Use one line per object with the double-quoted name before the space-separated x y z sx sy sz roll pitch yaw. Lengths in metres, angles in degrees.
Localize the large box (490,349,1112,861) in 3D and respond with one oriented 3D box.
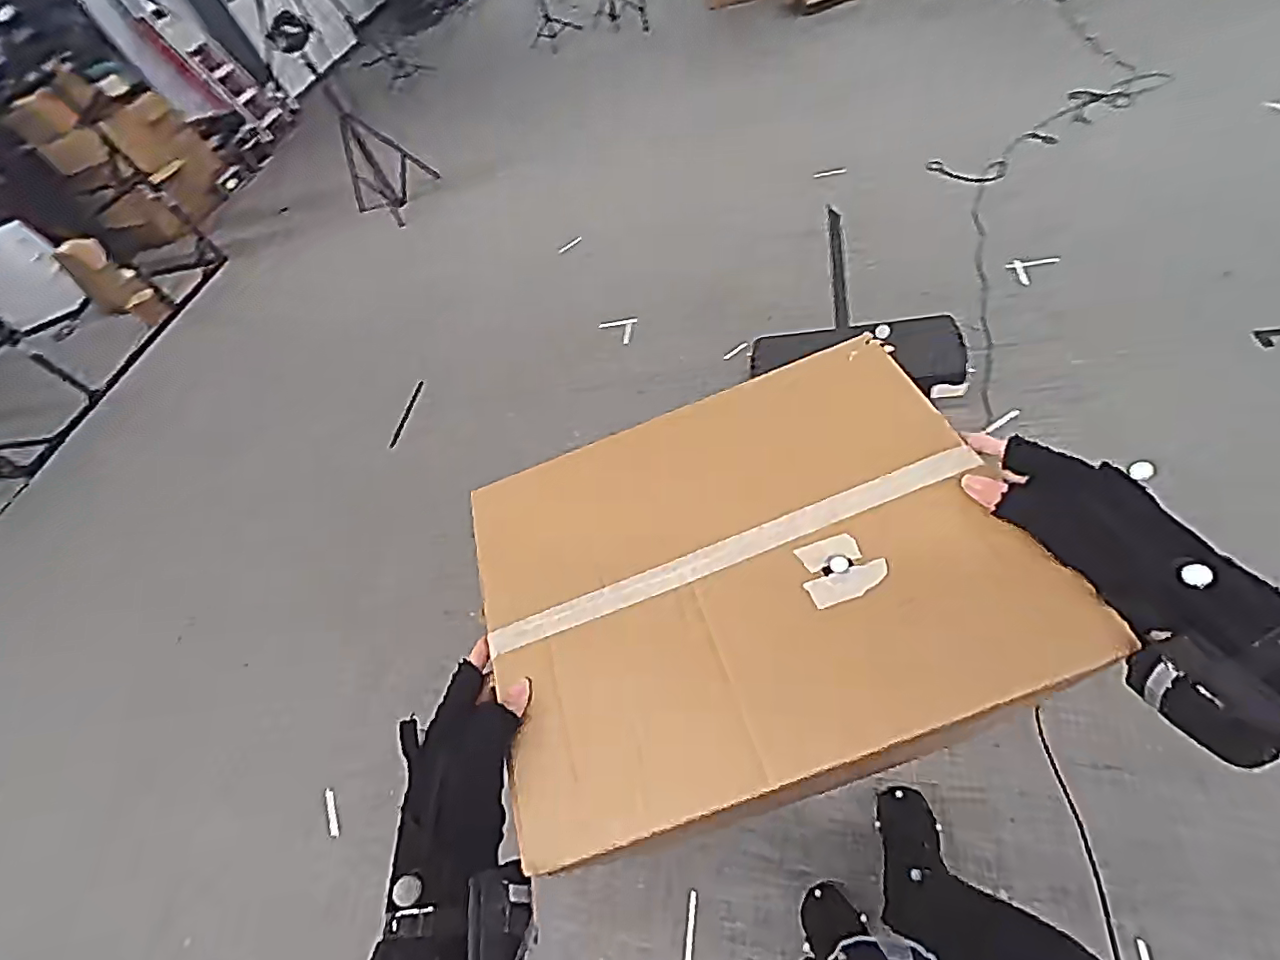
"large box" 0.112 0.141 0.556 0.408 0.320 0.320 -21 55 2
